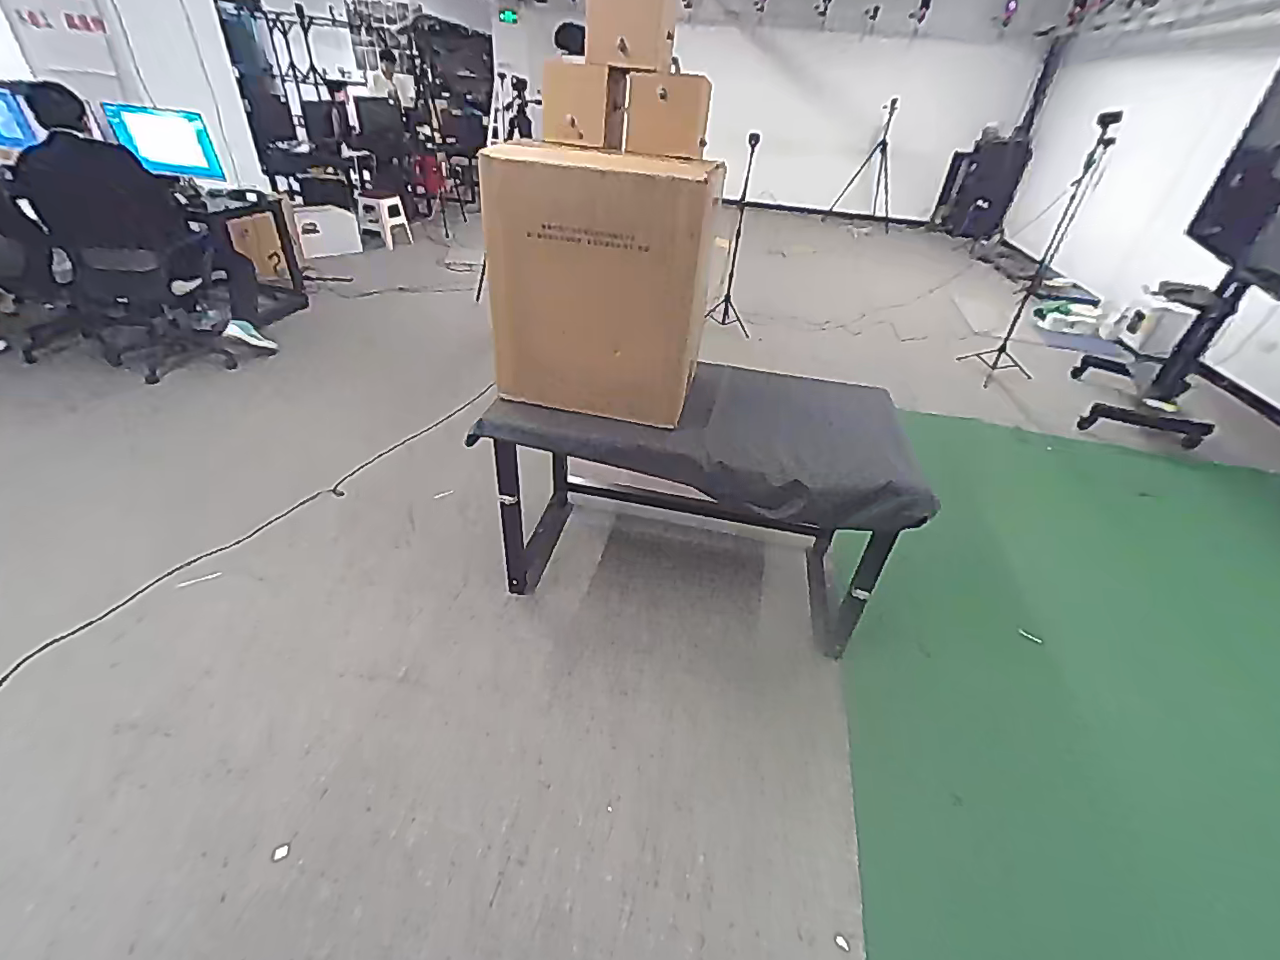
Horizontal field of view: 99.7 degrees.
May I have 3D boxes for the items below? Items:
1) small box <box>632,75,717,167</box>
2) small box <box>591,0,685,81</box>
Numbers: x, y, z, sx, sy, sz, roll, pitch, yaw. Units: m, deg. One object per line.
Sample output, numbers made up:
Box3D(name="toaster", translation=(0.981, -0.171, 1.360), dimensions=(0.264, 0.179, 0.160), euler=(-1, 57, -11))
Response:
Box3D(name="small box", translation=(0.084, -0.890, 1.349), dimensions=(0.179, 0.176, 0.168), euler=(12, 33, 8))
Box3D(name="small box", translation=(-0.005, -1.055, 1.282), dimensions=(0.179, 0.176, 0.168), euler=(13, 32, 9))
